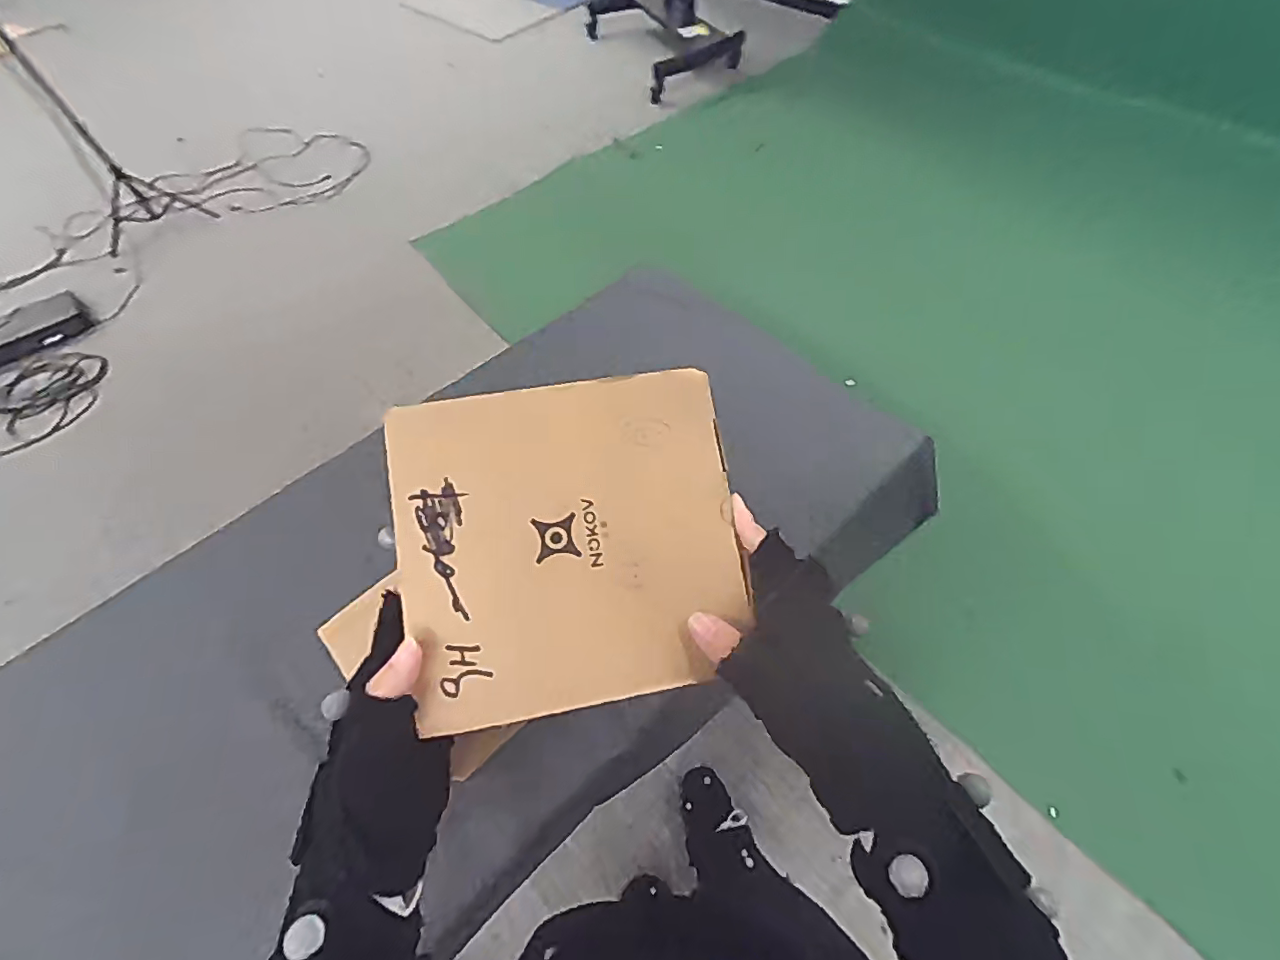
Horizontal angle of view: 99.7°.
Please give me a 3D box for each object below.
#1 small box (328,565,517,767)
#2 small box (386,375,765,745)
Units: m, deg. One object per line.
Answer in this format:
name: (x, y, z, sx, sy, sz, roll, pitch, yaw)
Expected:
small box: (-0.186, 0.181, 0.590, 0.179, 0.176, 0.168, -40, 63, -19)
small box: (-0.042, 0.047, 0.361, 0.179, 0.176, 0.168, -12, 81, -7)
